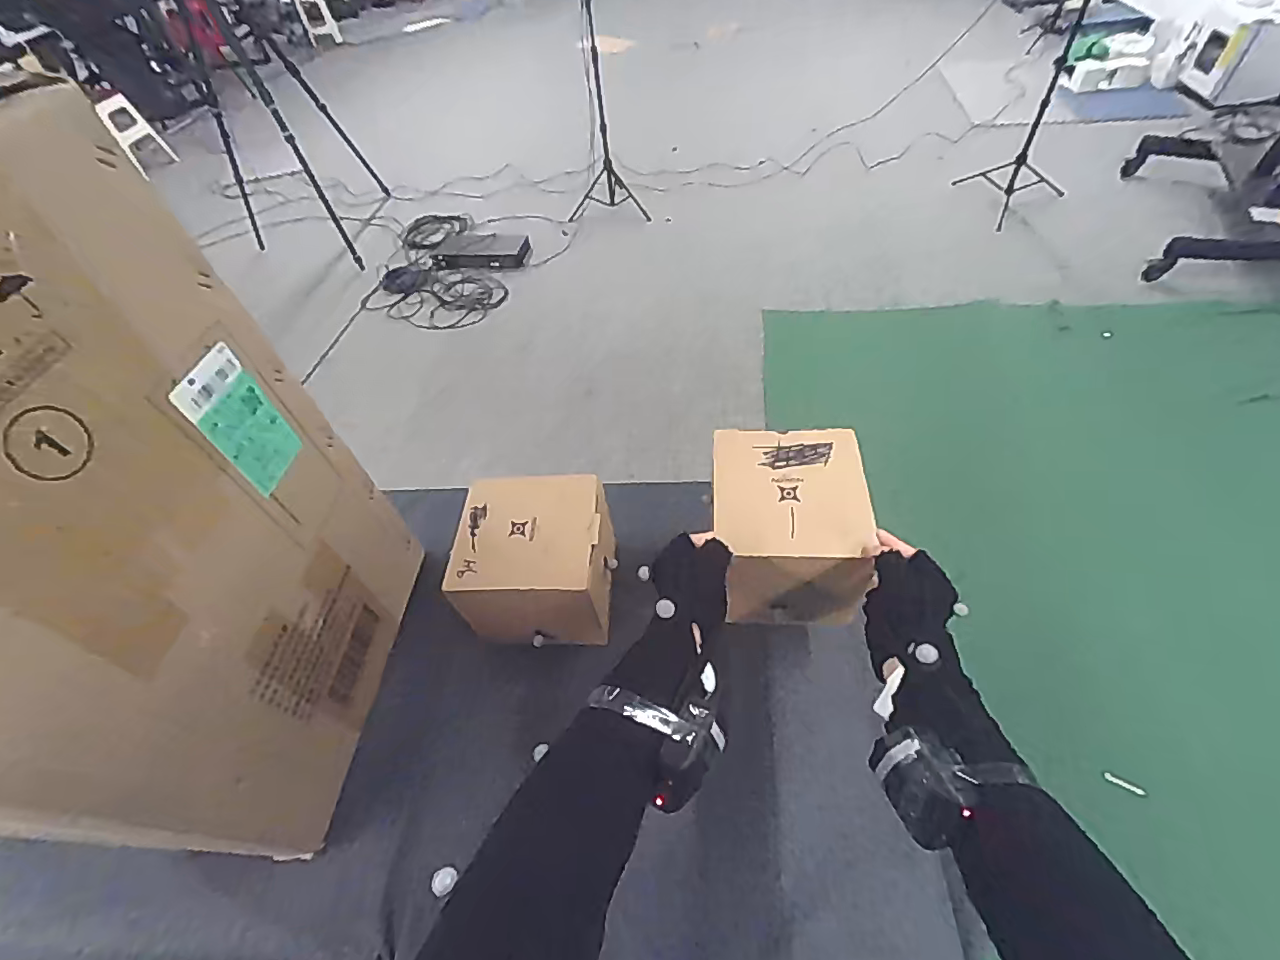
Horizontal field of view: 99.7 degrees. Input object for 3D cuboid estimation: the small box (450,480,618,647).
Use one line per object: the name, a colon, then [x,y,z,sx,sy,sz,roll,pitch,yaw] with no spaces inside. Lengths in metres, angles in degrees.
small box: [-0.126,0.115,0.732,0.179,0.176,0.168,-1,51,5]

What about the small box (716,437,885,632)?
small box: [0.177,0.066,0.660,0.168,0.176,0.179,0,52,7]
